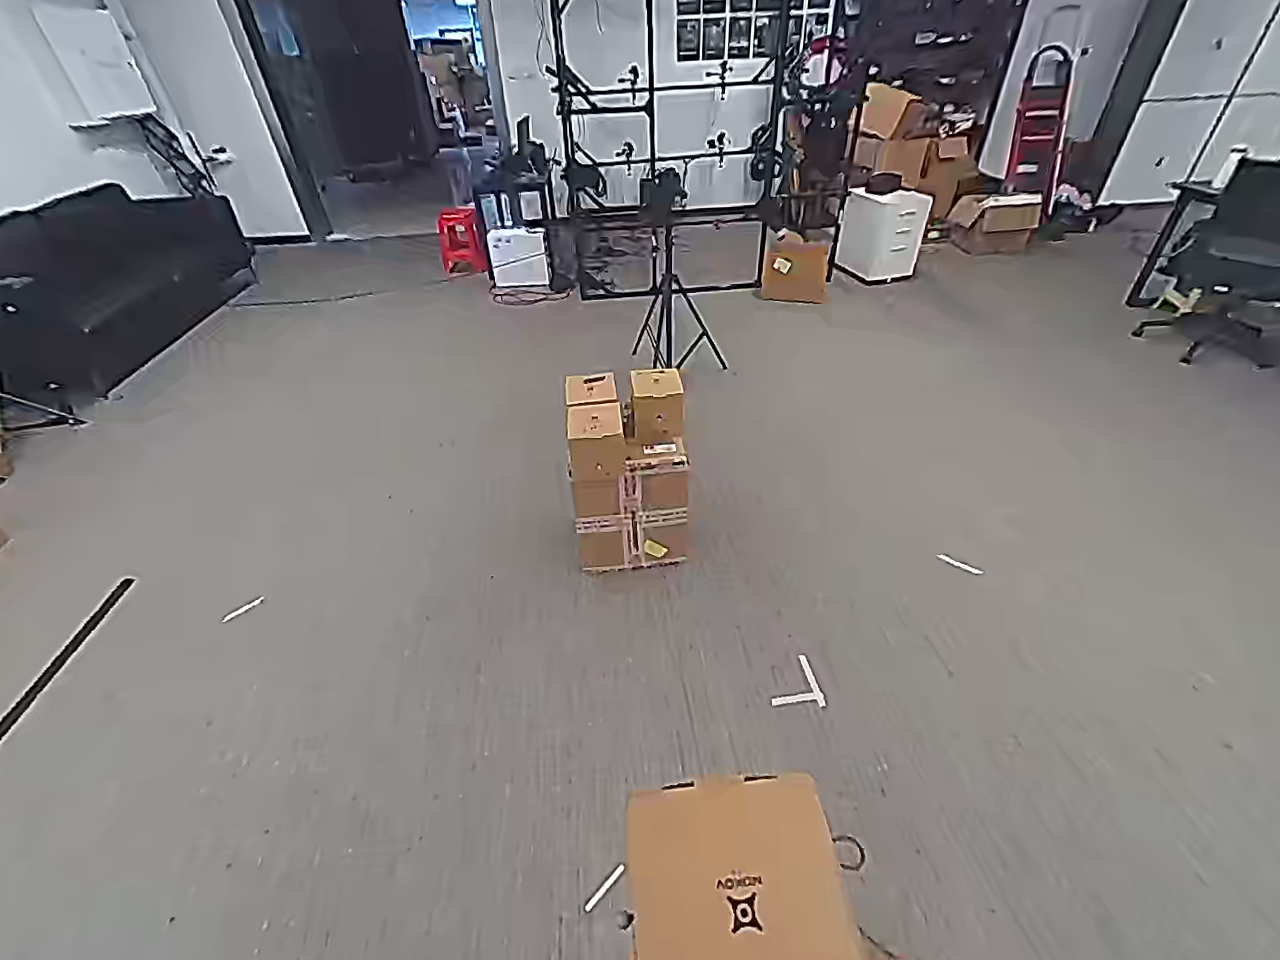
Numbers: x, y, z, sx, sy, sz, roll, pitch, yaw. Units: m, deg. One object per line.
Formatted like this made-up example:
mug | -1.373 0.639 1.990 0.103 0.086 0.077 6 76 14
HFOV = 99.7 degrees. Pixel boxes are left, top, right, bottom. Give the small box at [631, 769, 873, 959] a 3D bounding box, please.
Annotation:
small box | 0.080 0.375 0.467 0.168 0.176 0.179 -4 46 -4
